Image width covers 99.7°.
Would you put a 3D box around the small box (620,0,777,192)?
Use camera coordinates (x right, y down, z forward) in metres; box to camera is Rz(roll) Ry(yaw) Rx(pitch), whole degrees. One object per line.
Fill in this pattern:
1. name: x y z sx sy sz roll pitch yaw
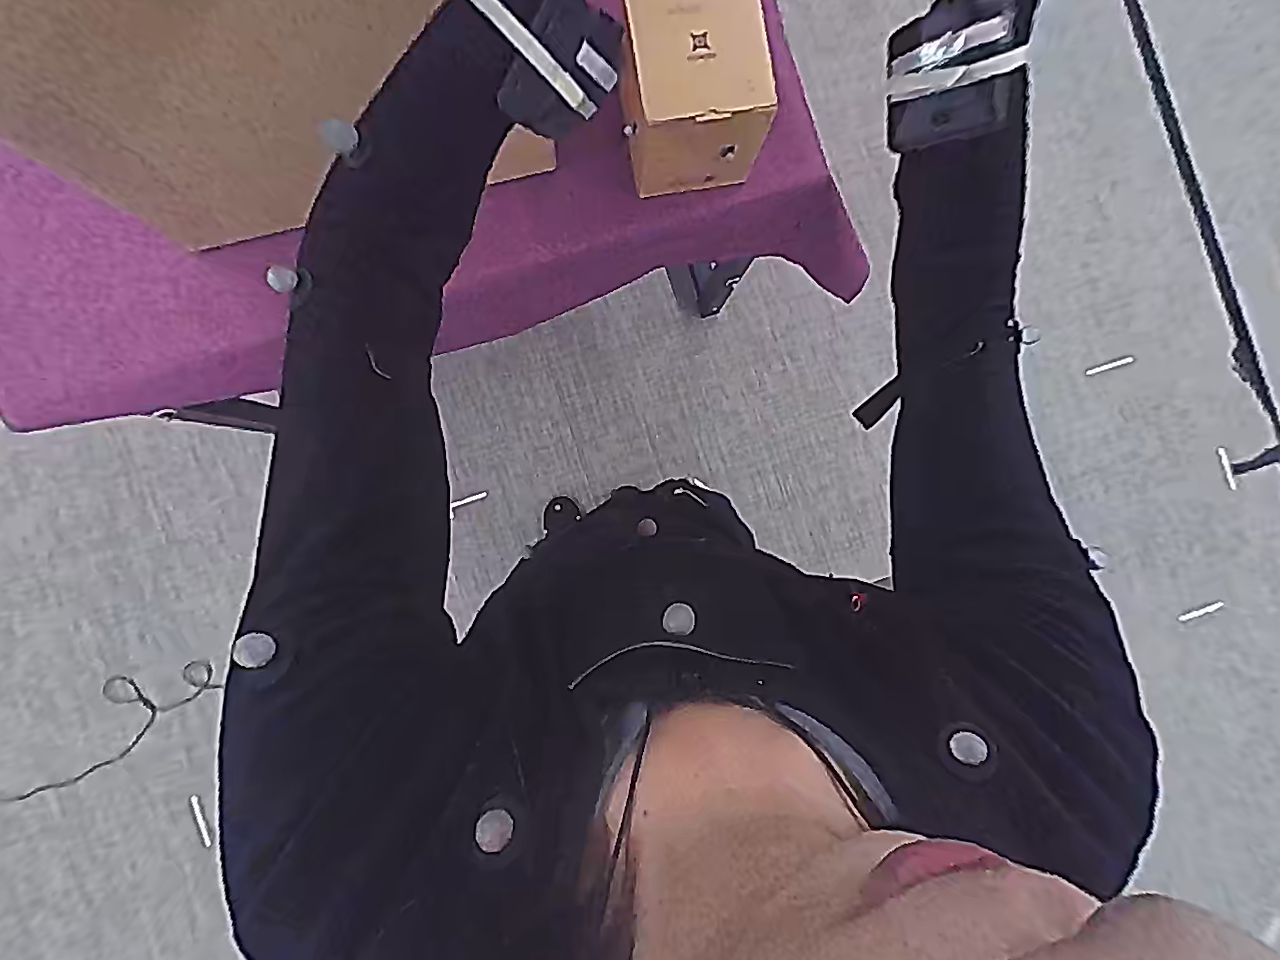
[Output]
1. small box: 0.068 -0.516 0.730 0.168 0.176 0.179 -11 88 -5
